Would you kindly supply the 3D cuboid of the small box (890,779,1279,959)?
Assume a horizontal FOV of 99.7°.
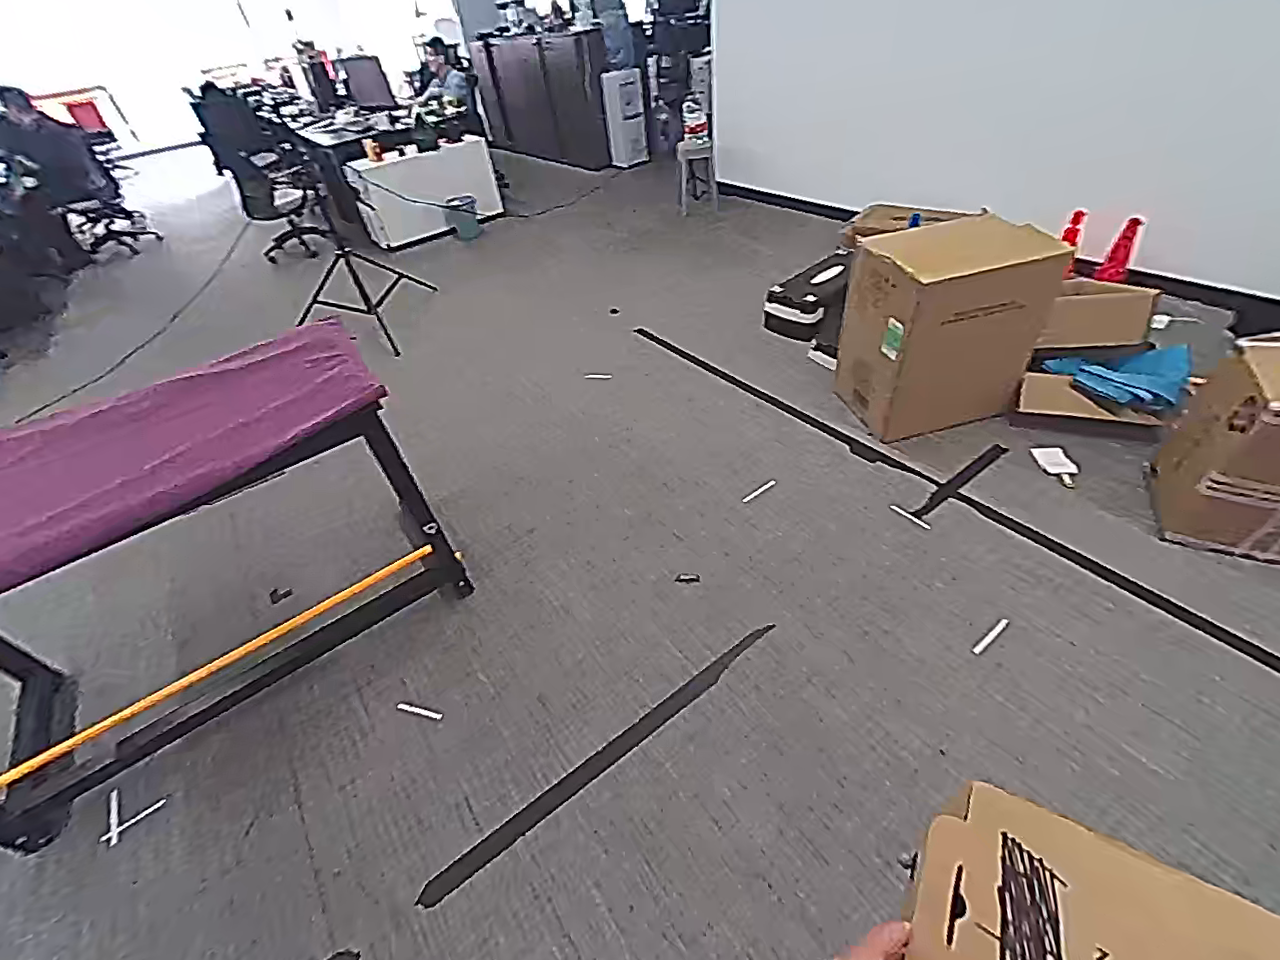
[{"bbox_3d":[0.275,0.346,0.361,0.179,0.176,0.168,18,50,24],"label":"small box"}]
